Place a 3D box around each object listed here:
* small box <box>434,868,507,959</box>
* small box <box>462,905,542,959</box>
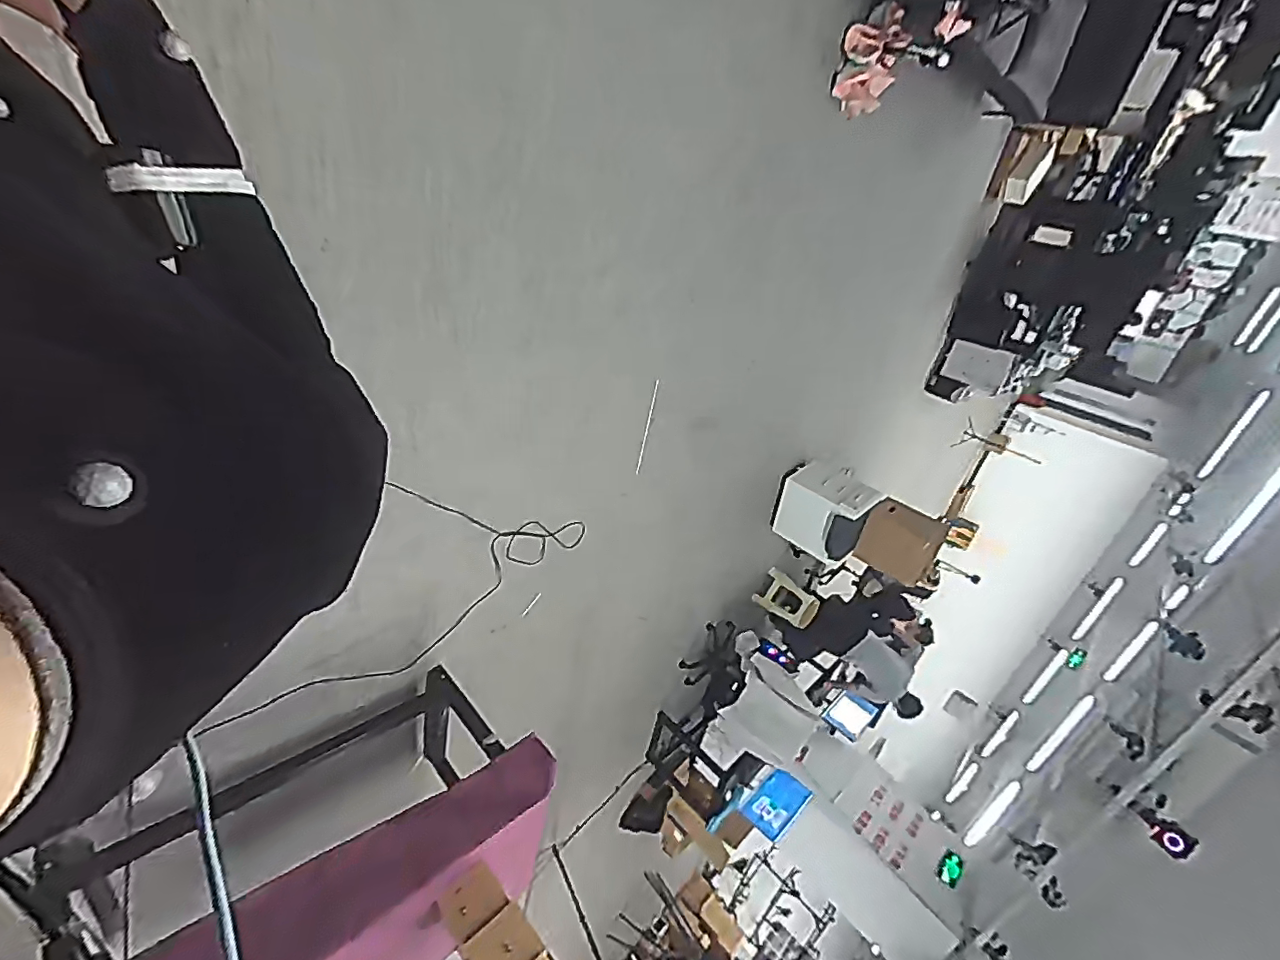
[{"bbox_3d":[-0.526,1.364,1.687,0.168,0.176,0.179,-22,134,-39],"label":"small box"},{"bbox_3d":[-0.407,1.416,1.585,0.179,0.176,0.168,-23,134,-39],"label":"small box"}]
